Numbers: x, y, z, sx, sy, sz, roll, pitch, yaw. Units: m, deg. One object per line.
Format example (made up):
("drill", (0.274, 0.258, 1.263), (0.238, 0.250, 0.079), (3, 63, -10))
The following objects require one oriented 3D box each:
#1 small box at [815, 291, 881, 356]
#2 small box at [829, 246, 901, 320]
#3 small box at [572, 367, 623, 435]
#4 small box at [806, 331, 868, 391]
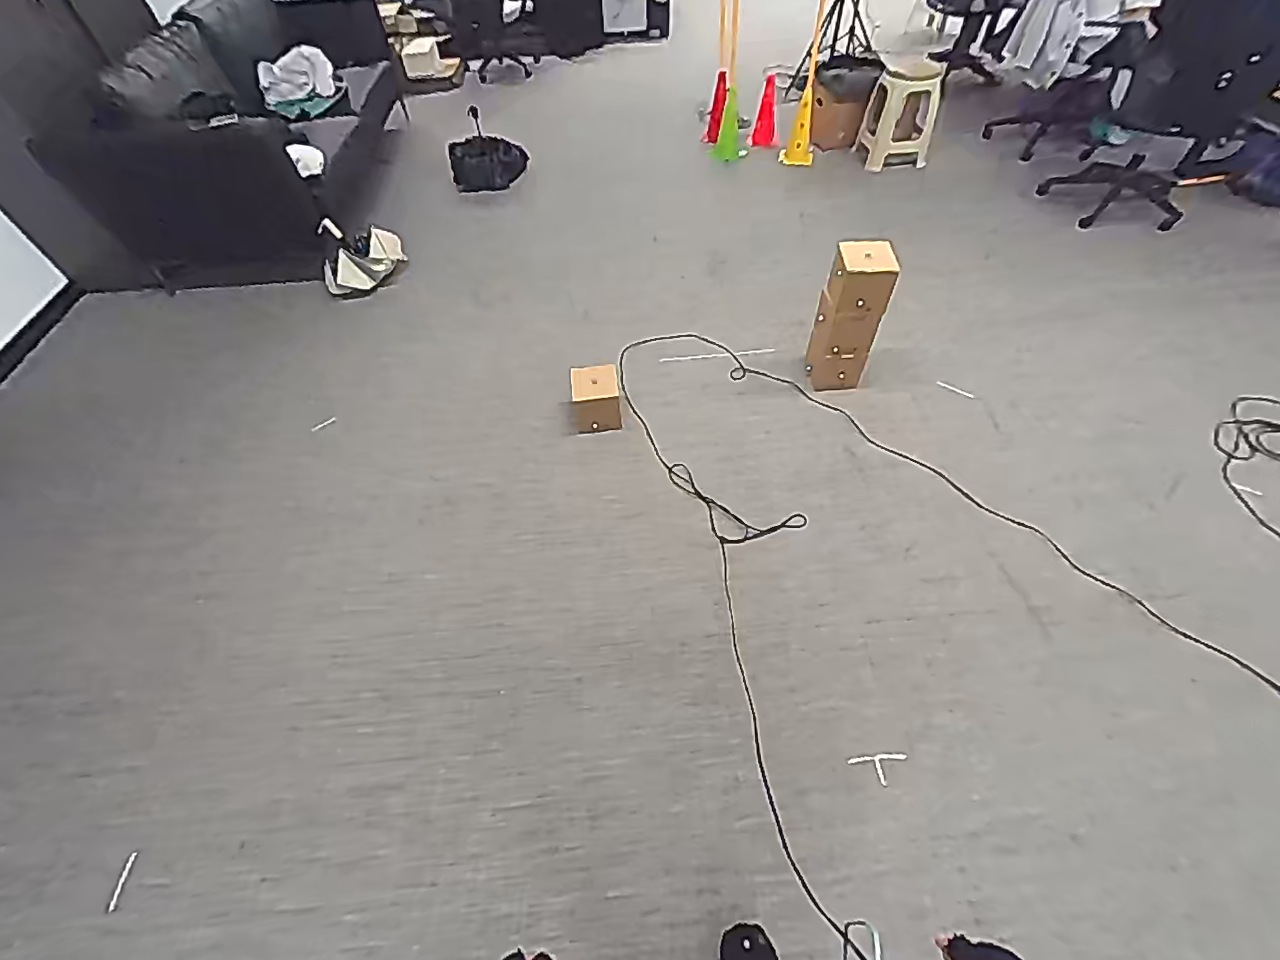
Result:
("small box", (0.738, -0.558, 1.931), (0.168, 0.176, 0.179), (-3, 51, 1))
("small box", (0.739, -0.656, 1.801), (0.168, 0.176, 0.179), (1, 53, 4))
("small box", (-0.156, -0.287, 1.986), (0.168, 0.176, 0.179), (-7, 53, -1))
("small box", (0.744, -0.451, 2.056), (0.168, 0.176, 0.179), (-4, 53, 1))
